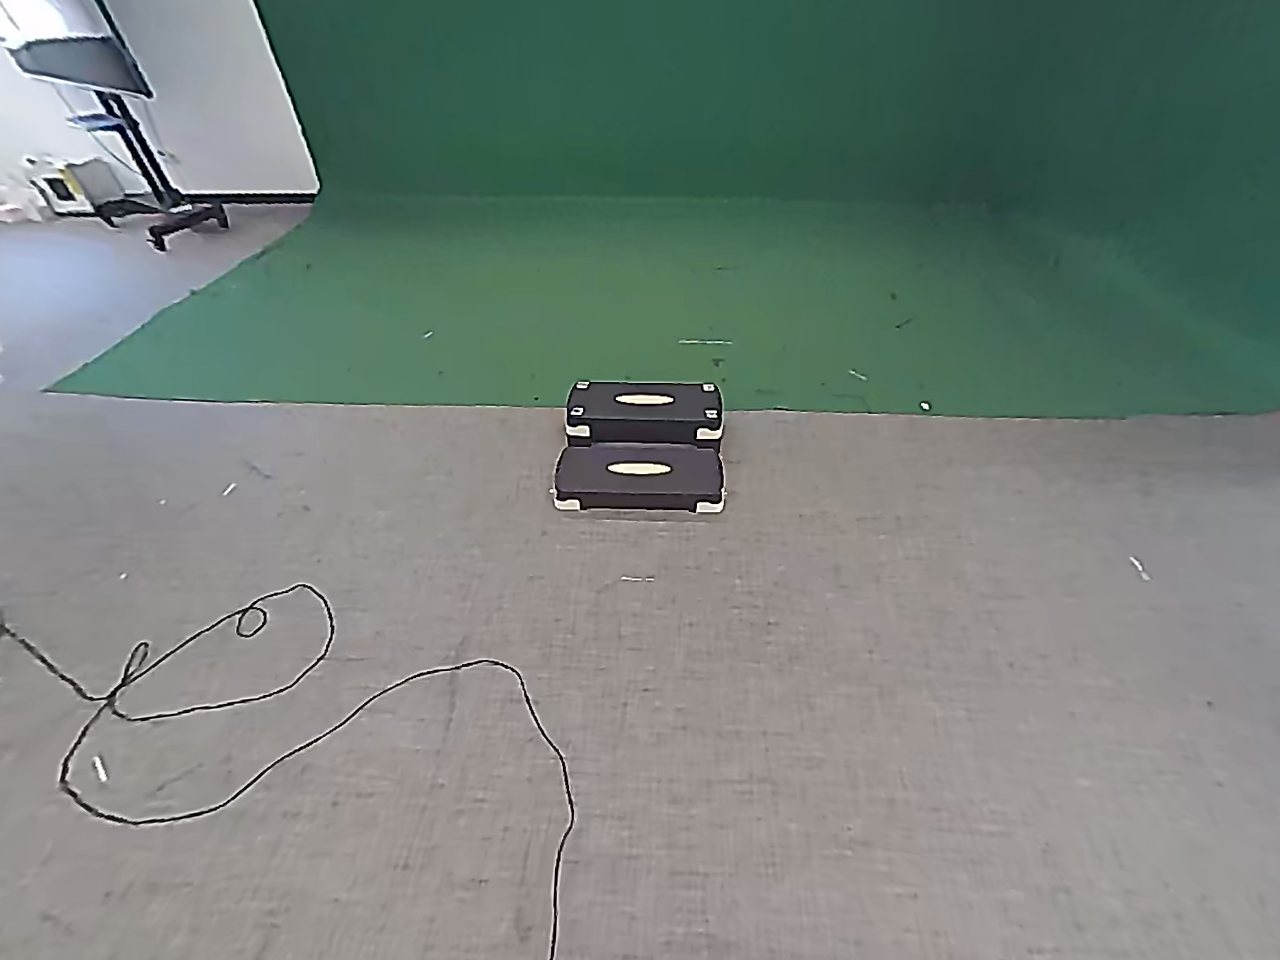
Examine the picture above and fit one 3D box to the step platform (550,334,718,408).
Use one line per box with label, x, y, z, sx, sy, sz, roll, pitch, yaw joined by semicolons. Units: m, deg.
step platform;-0.023;-0.454;2.260;0.684;0.204;0.286;1;44;2
